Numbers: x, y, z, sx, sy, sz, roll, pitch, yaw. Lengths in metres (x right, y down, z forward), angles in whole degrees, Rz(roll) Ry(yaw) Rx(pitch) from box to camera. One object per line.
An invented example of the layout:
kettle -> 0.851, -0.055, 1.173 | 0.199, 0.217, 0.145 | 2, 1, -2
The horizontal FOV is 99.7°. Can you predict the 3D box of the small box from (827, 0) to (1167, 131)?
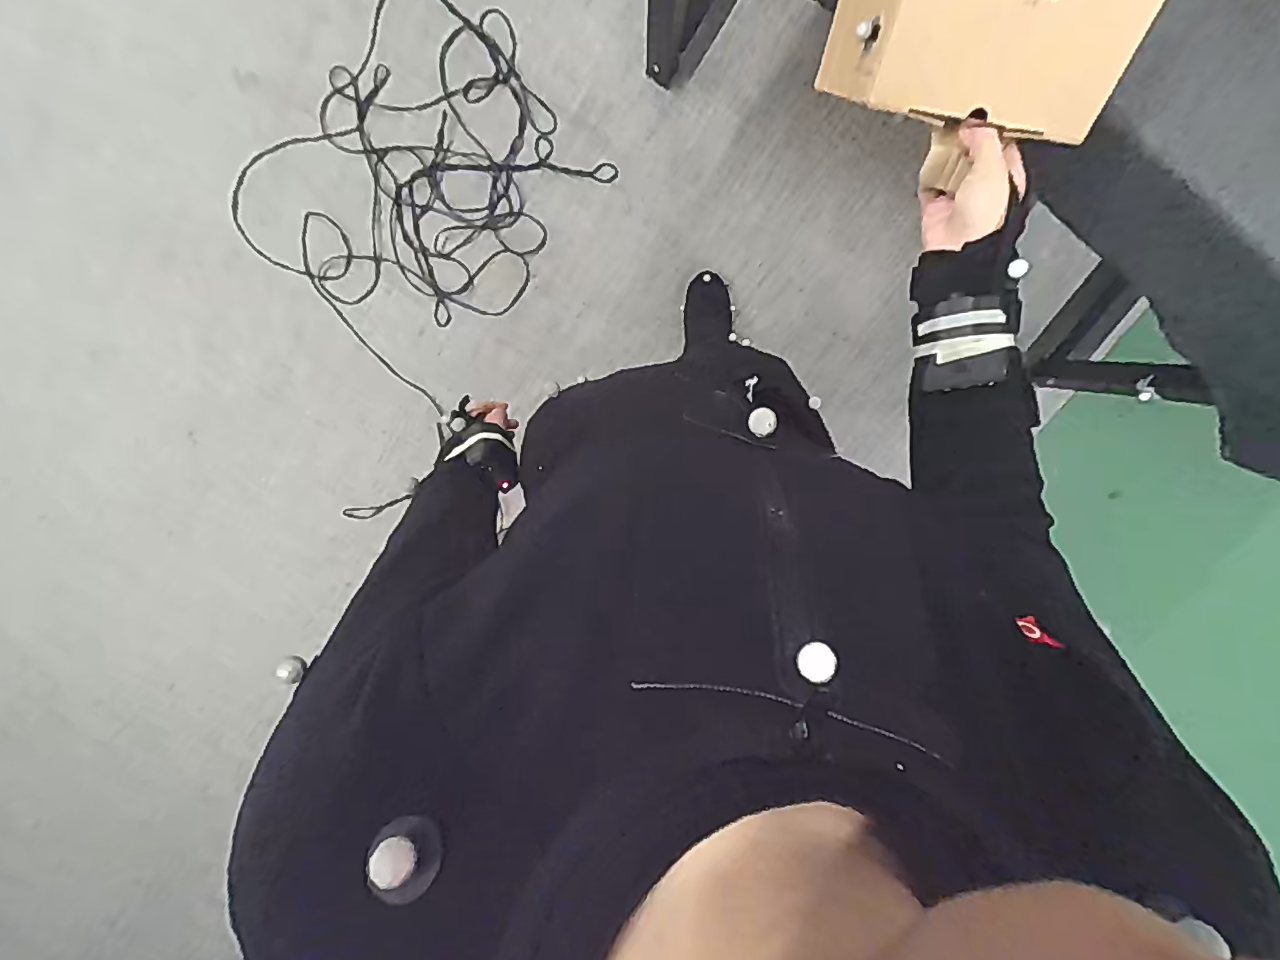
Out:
small box -> 0.253, -0.375, 0.385 | 0.168, 0.176, 0.179 | 7, 130, -4
